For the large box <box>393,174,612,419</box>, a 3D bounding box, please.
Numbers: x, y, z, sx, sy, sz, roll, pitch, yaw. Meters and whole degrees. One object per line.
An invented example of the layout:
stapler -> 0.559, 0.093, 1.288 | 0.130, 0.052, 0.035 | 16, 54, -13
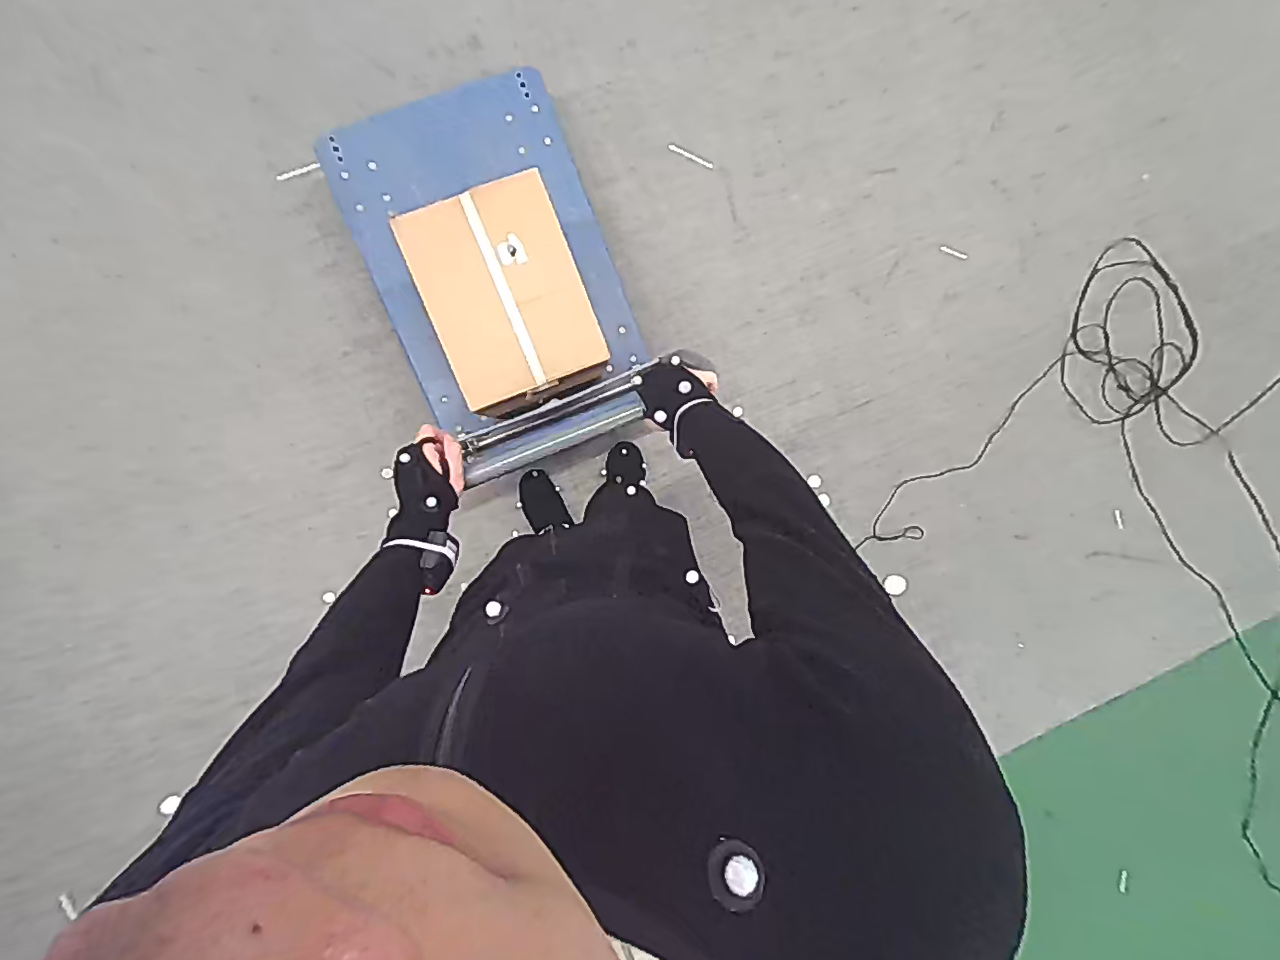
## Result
large box -> -0.285, -0.383, 1.236 | 0.320, 0.320, 0.408 | -22, 96, -5
